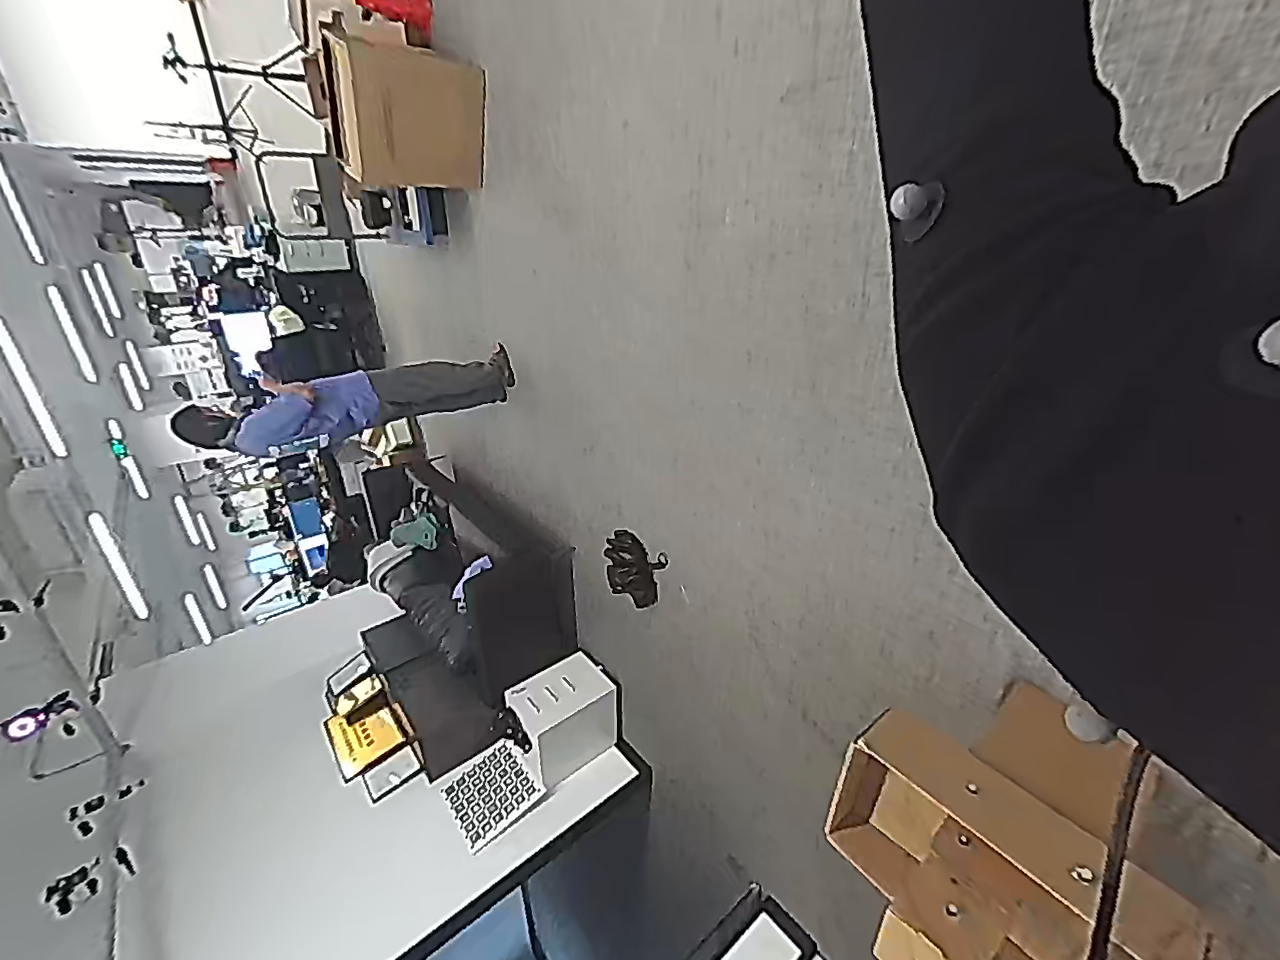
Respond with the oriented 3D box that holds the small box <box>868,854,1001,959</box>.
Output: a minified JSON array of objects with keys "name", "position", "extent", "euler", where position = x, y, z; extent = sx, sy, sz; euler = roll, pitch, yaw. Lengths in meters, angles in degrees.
[{"name":"small box","position":[0.594,0.914,1.090],"extent":[0.168,0.176,0.179],"euler":[29,127,45]}]

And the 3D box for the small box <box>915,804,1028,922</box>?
[{"name":"small box","position":[0.716,0.864,1.186],"extent":[0.168,0.176,0.179],"euler":[28,129,45]}]
